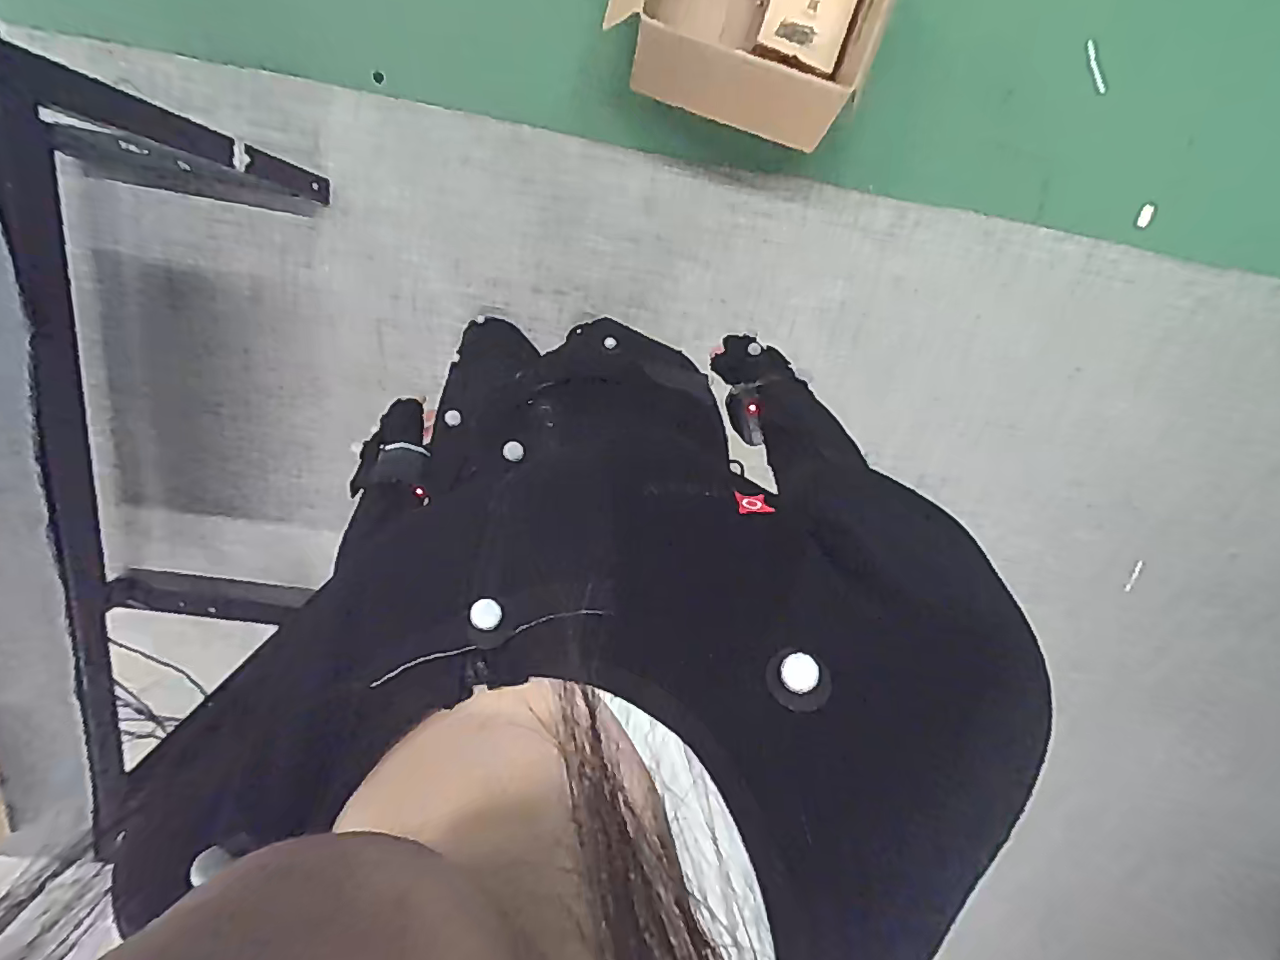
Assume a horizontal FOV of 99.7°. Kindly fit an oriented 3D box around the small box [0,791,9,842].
[{"bbox_3d":[-1.080,0.513,0.763,0.179,0.176,0.168,7,106,-3],"label":"small box"}]
